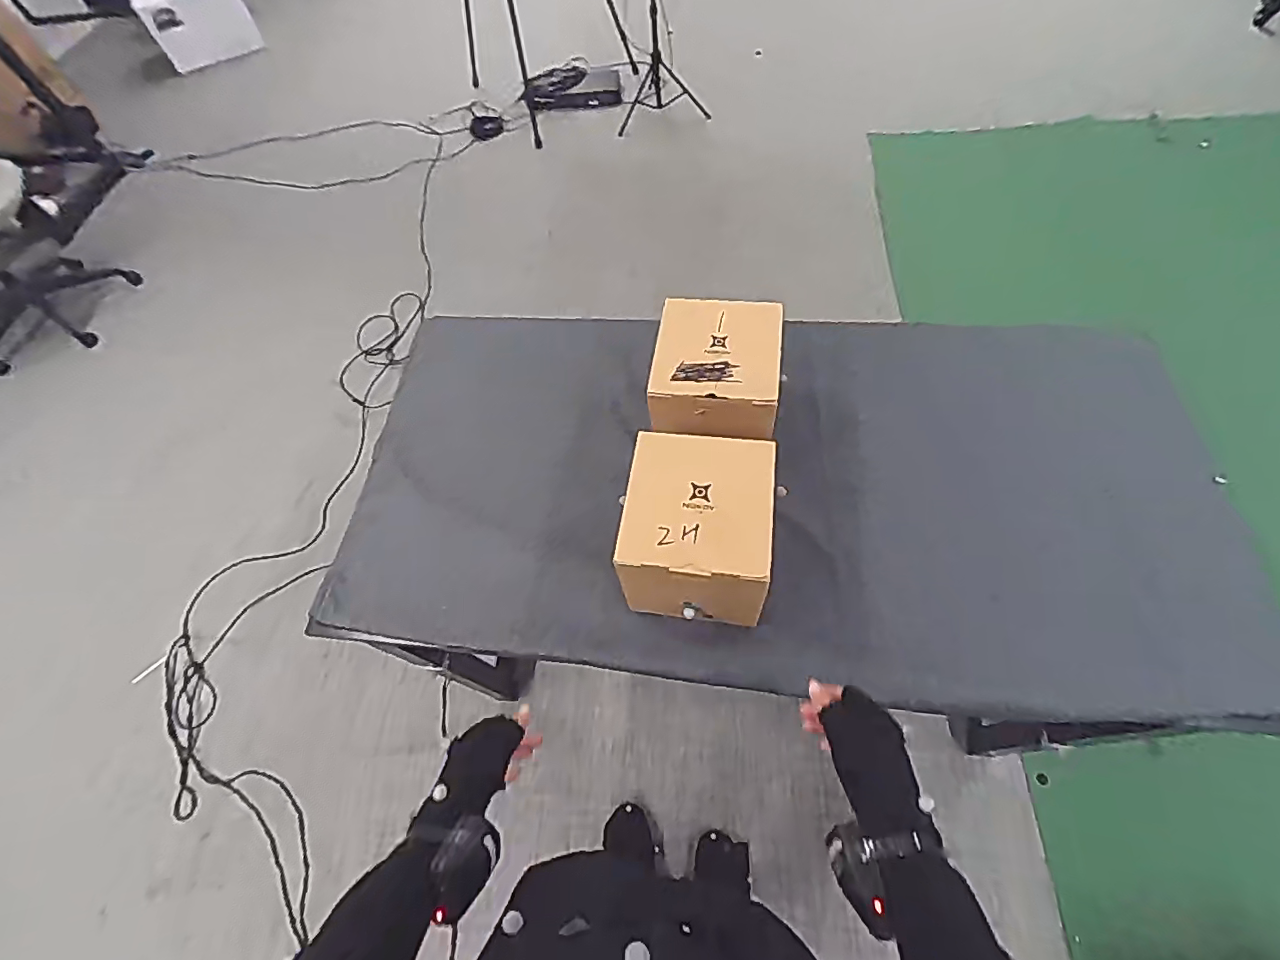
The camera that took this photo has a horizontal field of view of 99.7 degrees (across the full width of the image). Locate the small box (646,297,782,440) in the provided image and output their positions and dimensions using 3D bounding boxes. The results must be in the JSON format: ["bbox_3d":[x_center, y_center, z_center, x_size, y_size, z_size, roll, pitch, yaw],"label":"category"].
[{"bbox_3d":[0.109,-0.138,0.782,0.168,0.176,0.179,5,61,9],"label":"small box"}]

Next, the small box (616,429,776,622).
[{"bbox_3d":[0.073,0.060,0.673,0.168,0.176,0.179,5,61,9],"label":"small box"}]
